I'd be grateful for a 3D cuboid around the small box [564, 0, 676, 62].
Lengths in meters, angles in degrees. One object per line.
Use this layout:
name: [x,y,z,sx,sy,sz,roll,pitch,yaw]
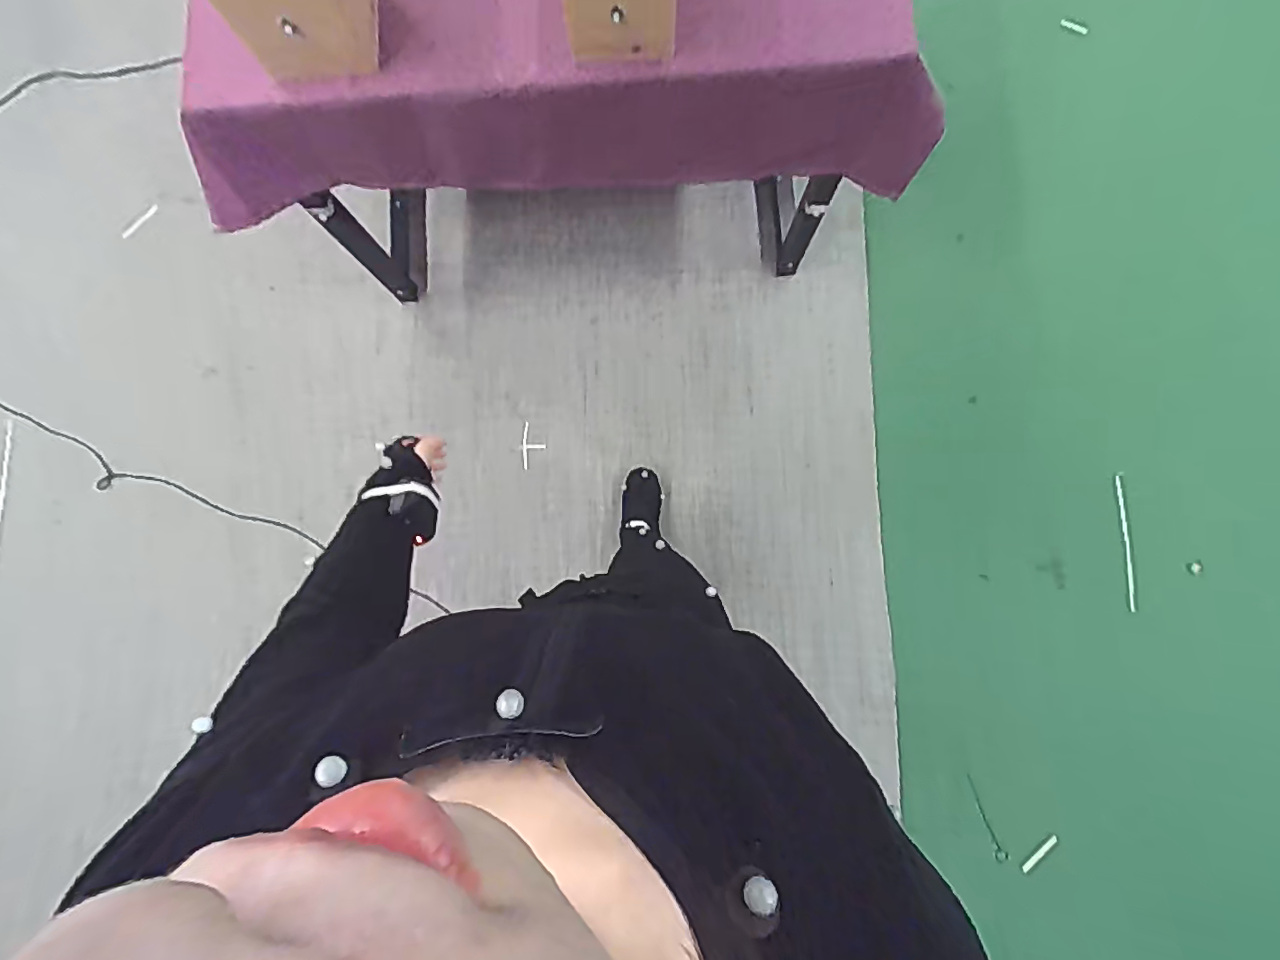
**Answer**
small box: [-0.028,-0.772,0.814,0.168,0.176,0.179,0,82,1]
